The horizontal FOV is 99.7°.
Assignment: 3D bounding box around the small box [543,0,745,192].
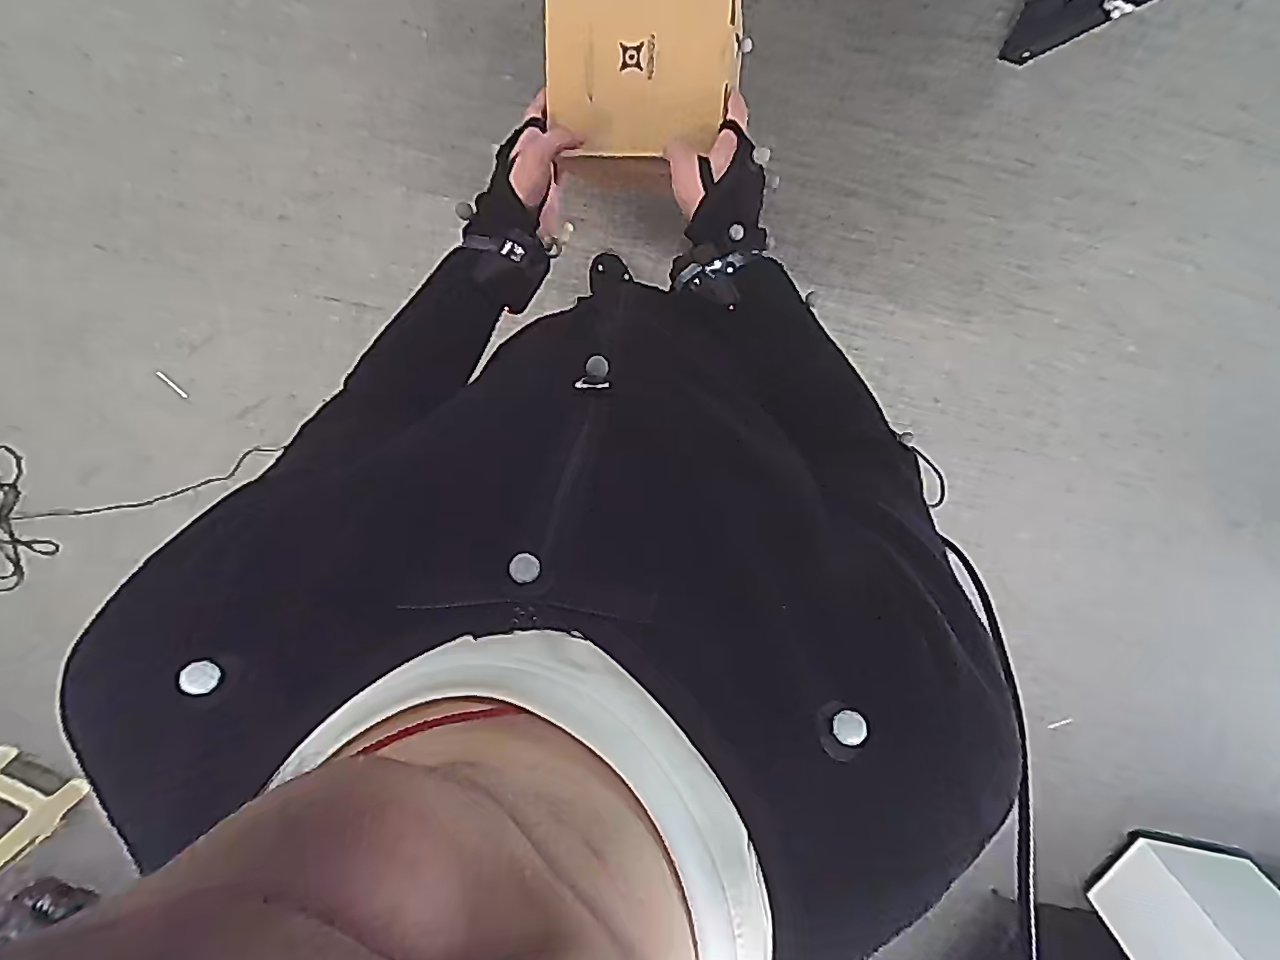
[{"bbox_3d":[0.012,-0.409,0.559,0.179,0.176,0.168,7,106,9],"label":"small box"}]
